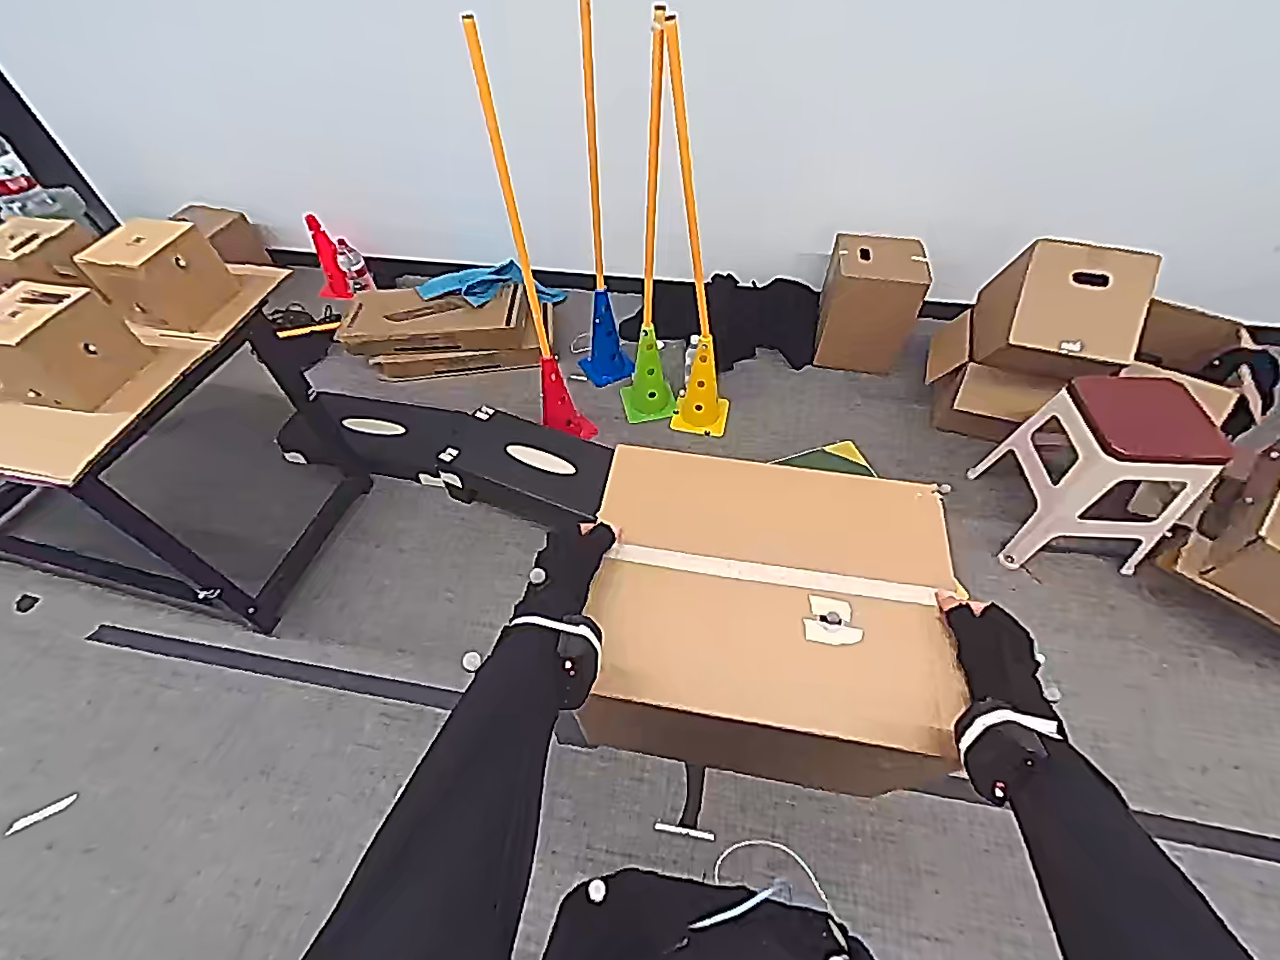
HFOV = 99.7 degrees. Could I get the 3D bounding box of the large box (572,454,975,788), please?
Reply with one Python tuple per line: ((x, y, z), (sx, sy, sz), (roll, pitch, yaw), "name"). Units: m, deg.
((0.149, 0.197, 0.736), (0.408, 0.320, 0.320), (8, 56, 6), "large box")
